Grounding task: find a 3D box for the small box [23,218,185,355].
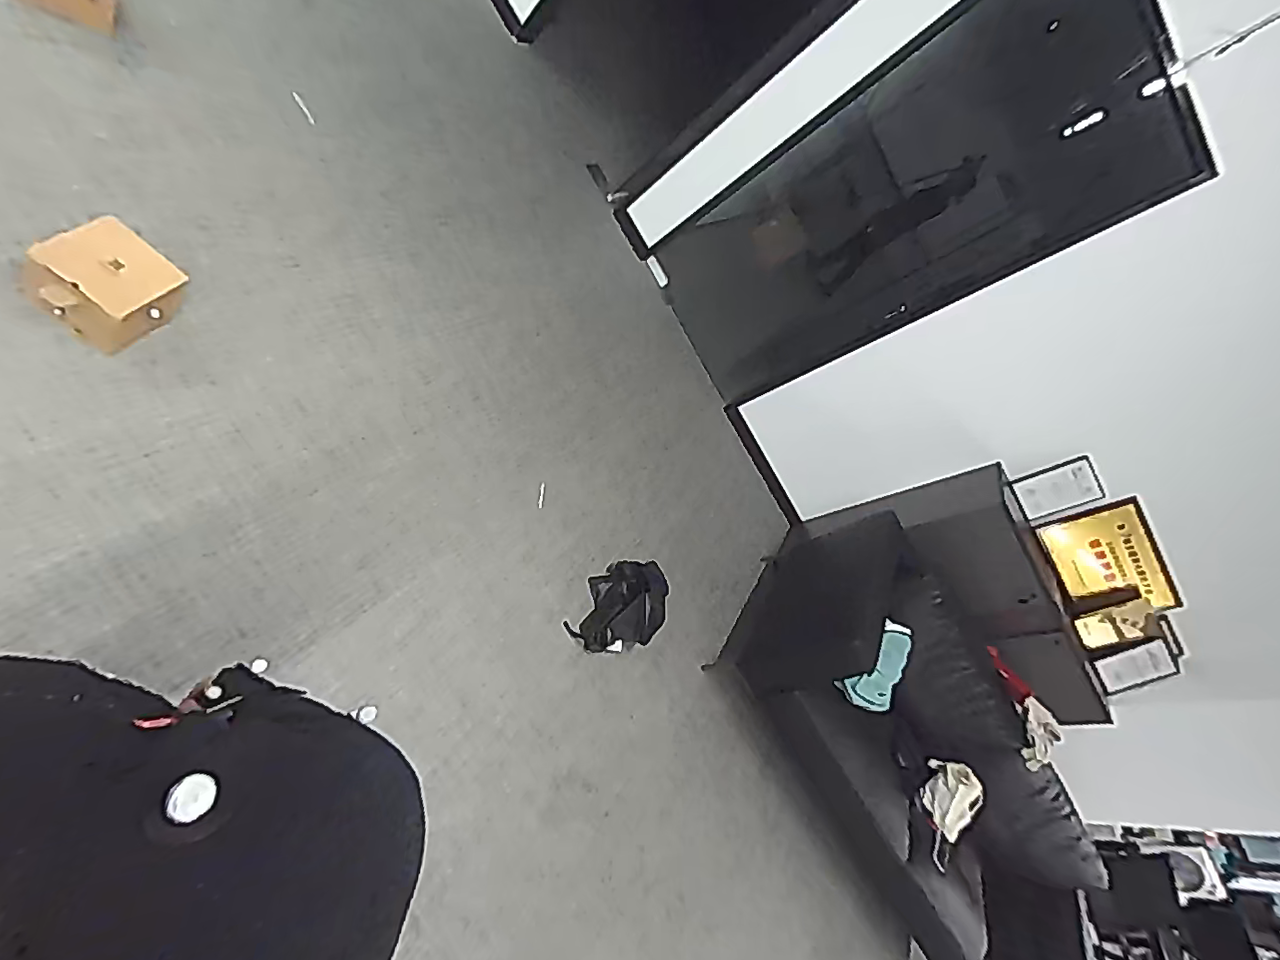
[{"bbox_3d":[-1.105,-0.395,1.115,0.168,0.176,0.179,45,44,-26],"label":"small box"}]
